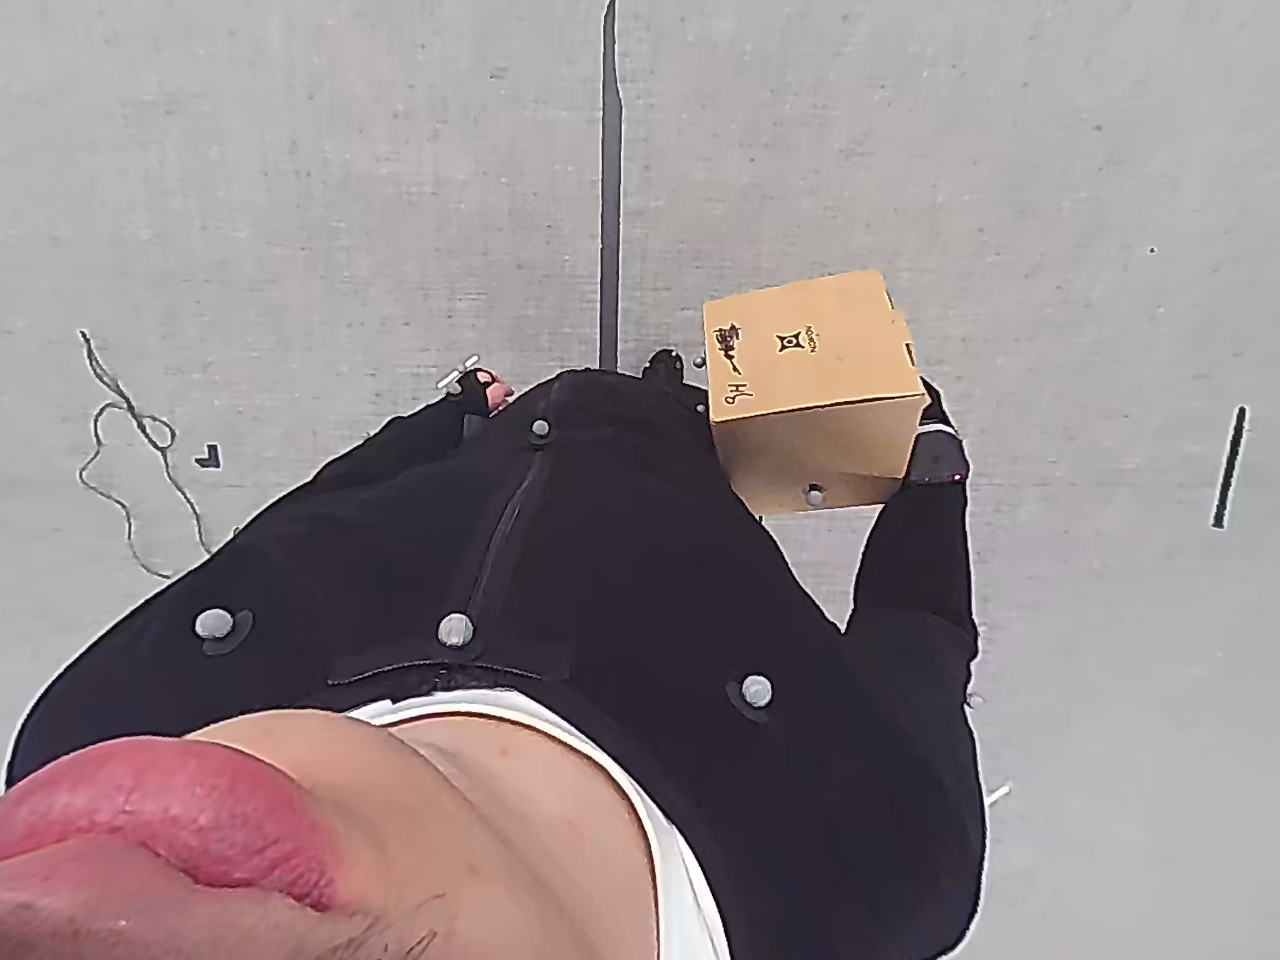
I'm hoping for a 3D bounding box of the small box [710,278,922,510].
[{"bbox_3d":[0.172,-0.084,0.579,0.179,0.168,0.176,-6,144,11],"label":"small box"}]
